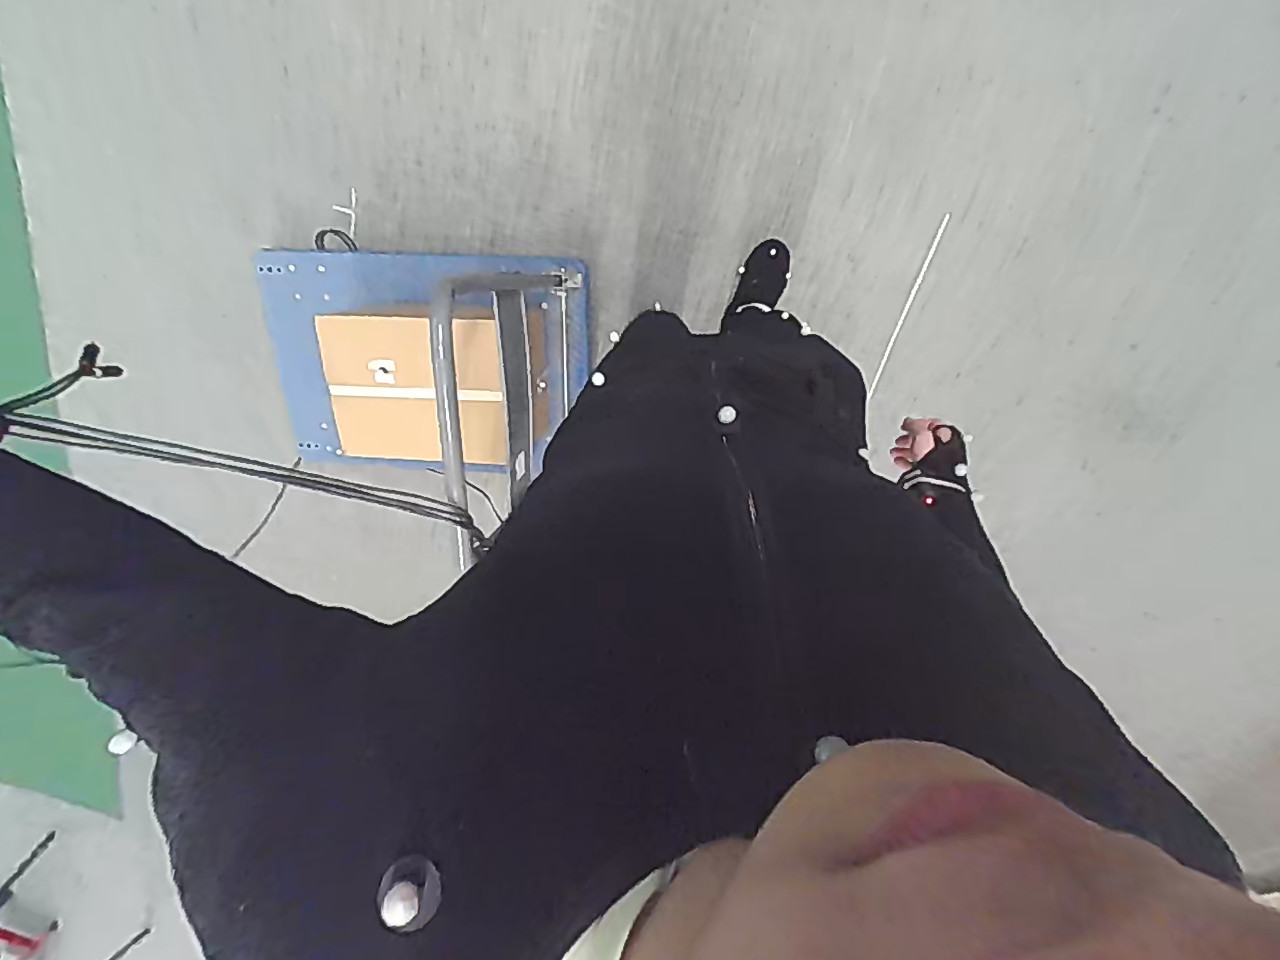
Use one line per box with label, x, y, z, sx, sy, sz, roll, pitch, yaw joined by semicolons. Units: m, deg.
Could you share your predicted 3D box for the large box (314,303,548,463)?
large box;-0.460;-0.246;1.284;0.408;0.320;0.320;4;112;6
